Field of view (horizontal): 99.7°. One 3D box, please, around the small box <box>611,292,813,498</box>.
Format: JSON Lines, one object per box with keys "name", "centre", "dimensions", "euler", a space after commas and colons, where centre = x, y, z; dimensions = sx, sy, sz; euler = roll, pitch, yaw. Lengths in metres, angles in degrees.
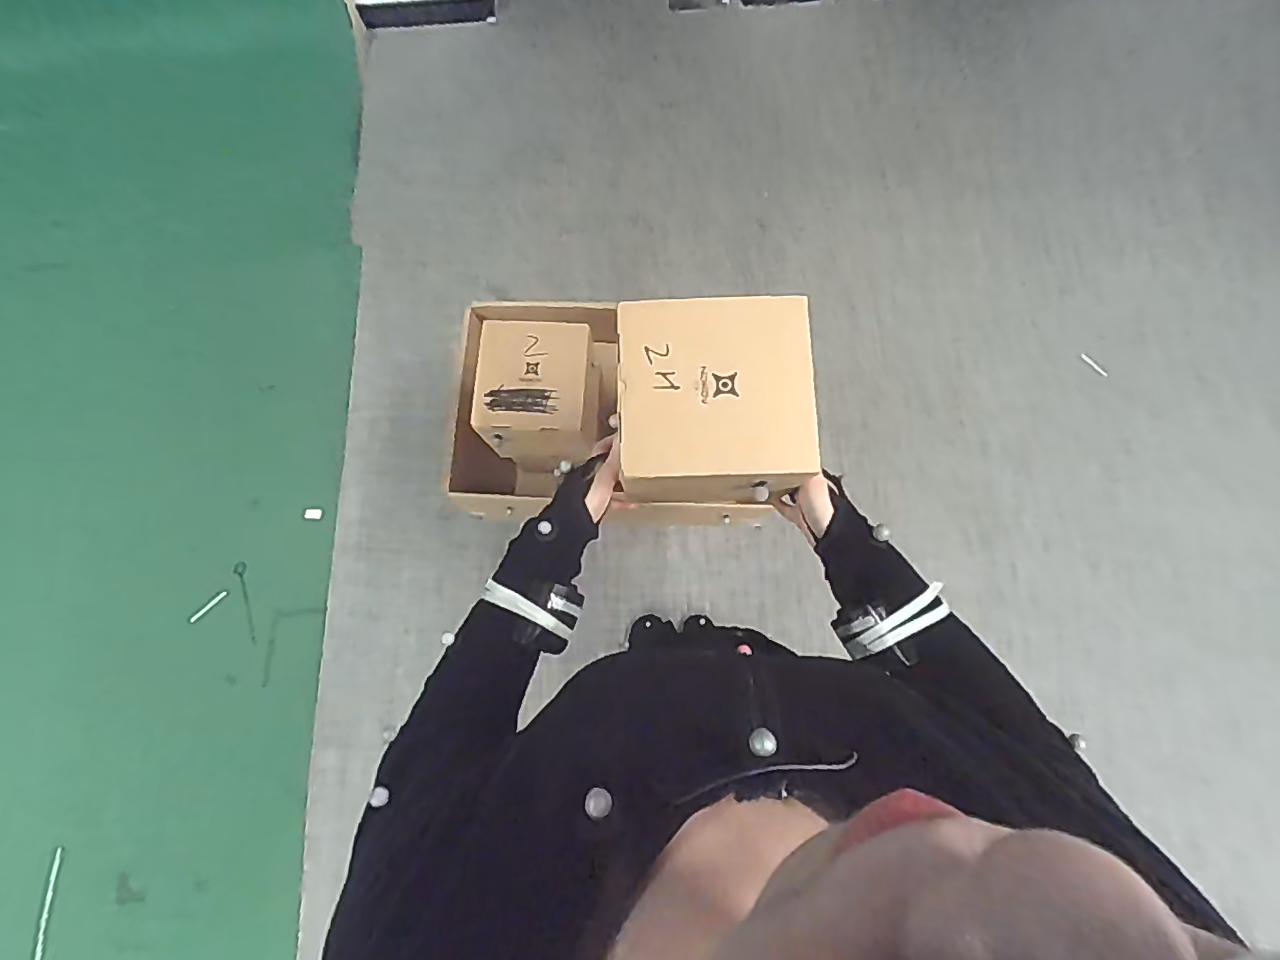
{"name": "small box", "centre": [0.064, -0.075, 0.555], "dimensions": [0.179, 0.176, 0.168], "euler": [-1, 80, 3]}
